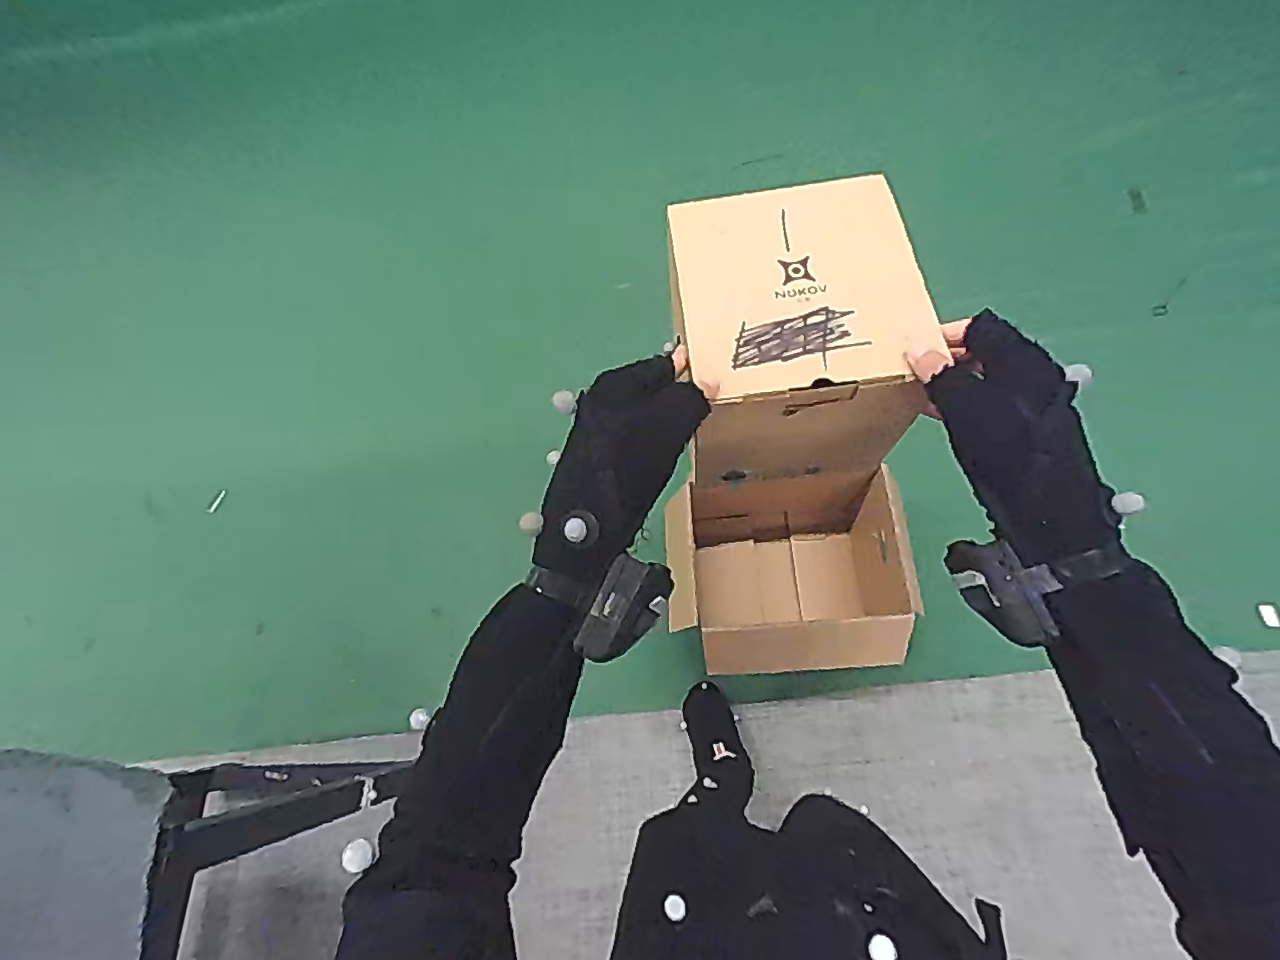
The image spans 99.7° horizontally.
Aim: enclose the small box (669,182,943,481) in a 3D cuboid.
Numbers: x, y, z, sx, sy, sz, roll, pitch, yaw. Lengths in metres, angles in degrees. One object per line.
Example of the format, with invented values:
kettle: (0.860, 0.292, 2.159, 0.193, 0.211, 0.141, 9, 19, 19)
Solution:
small box: (0.118, -0.108, 0.457, 0.168, 0.176, 0.179, -7, 67, 3)
